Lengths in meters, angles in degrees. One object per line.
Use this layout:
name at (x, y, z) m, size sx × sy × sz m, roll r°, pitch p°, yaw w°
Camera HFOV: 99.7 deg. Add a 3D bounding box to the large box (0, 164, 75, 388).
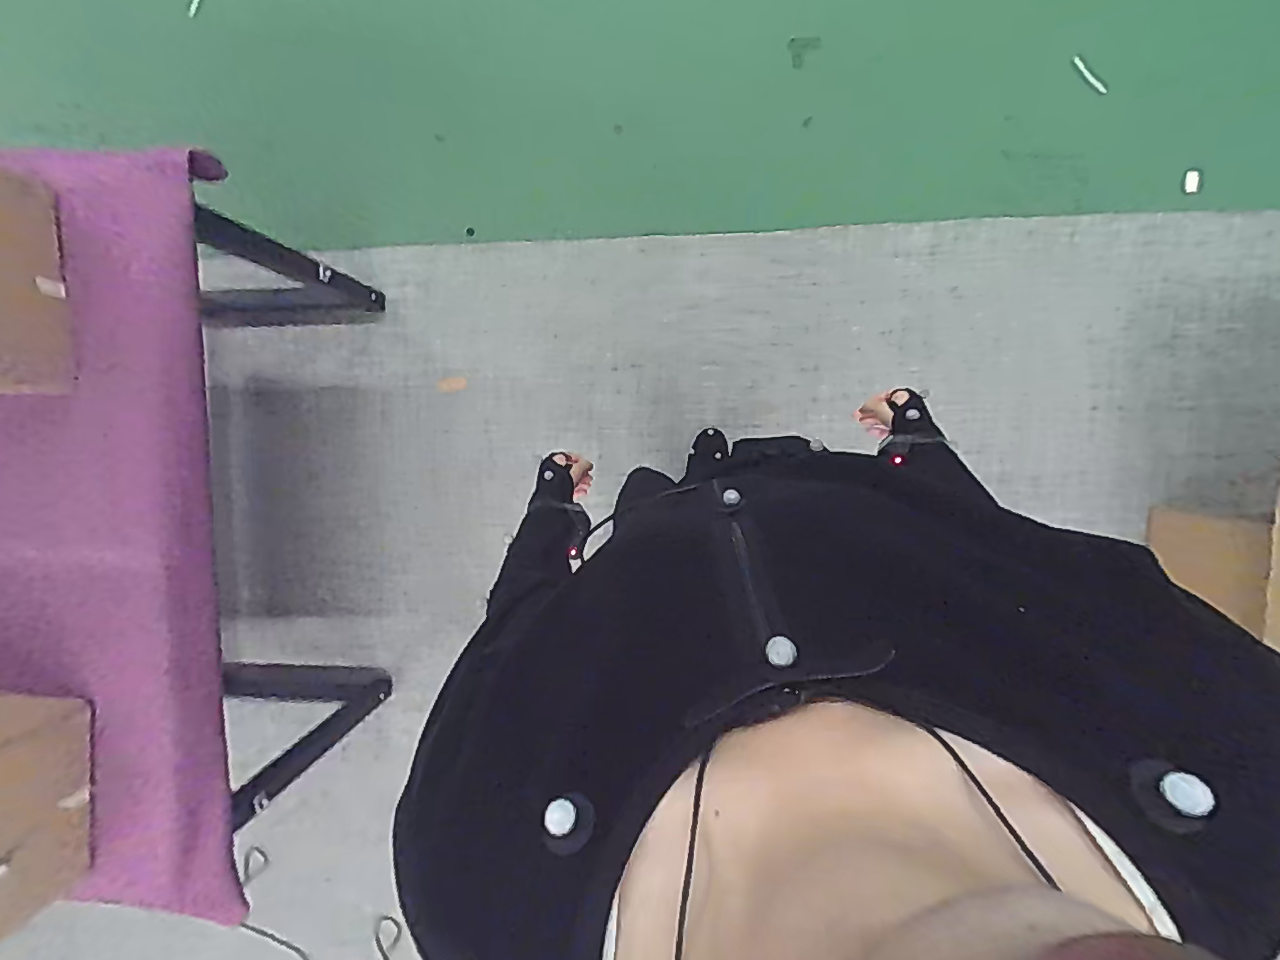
large box at (-1.085, -0.282, 0.691) m, size 0.408 × 0.320 × 0.320 m, roll 0°, pitch 96°, yaw 3°
